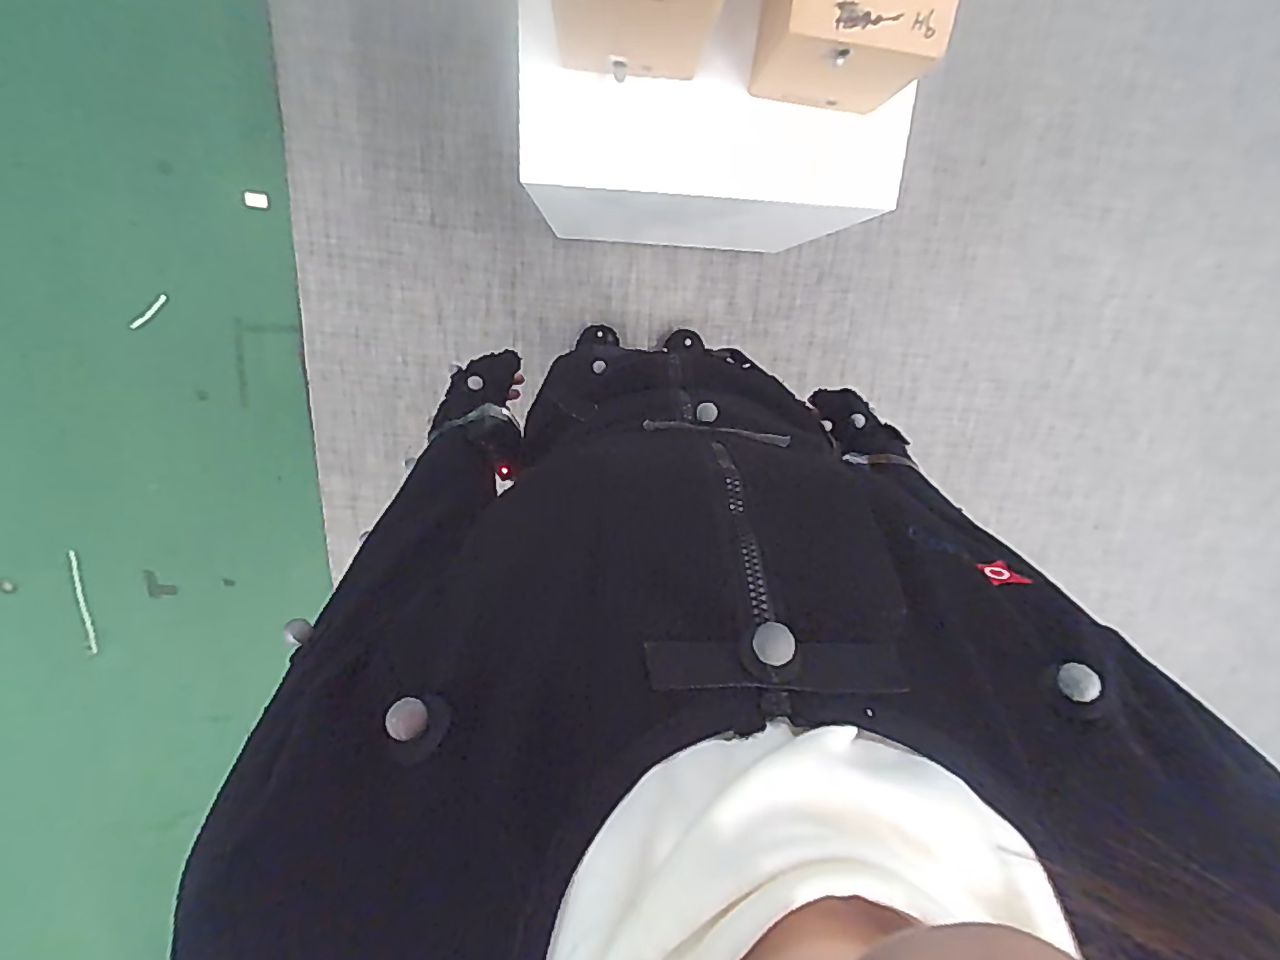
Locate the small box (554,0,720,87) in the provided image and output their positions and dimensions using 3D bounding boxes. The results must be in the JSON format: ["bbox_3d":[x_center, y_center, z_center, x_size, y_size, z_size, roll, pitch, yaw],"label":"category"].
[{"bbox_3d":[-0.004,-0.563,0.583,0.168,0.176,0.179,1,108,-2],"label":"small box"}]

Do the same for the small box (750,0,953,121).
[{"bbox_3d":[0.231,-0.537,0.600,0.168,0.176,0.179,6,106,-5],"label":"small box"}]
